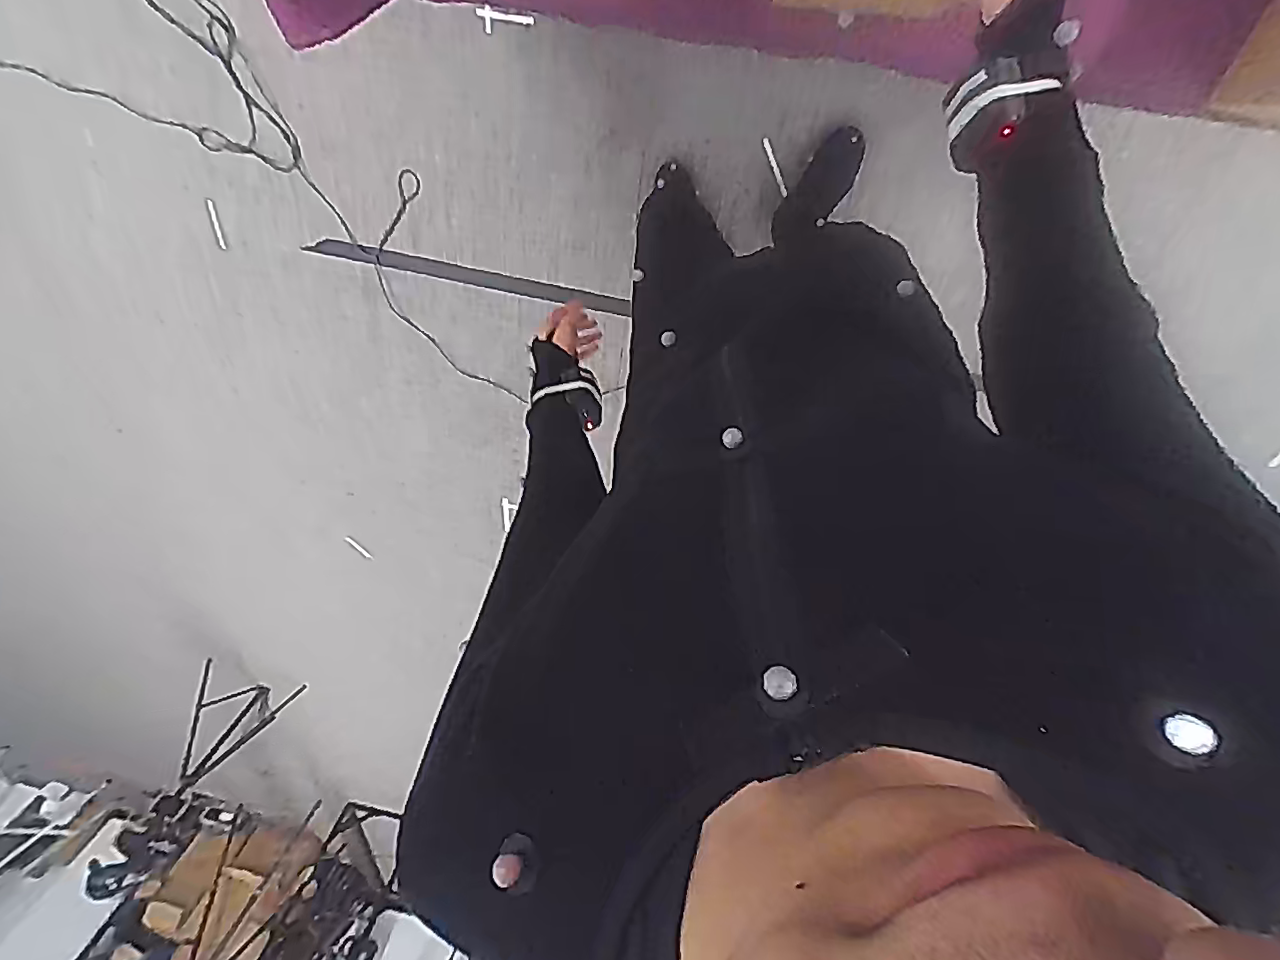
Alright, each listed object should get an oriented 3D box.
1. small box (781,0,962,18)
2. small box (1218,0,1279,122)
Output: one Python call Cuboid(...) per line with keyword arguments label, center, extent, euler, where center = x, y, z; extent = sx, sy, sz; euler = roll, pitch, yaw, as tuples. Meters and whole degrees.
Cuboid(label="small box", center=(0.214, -0.526, 0.464), extent=(0.168, 0.176, 0.179), euler=(9, 127, 6))
Cuboid(label="small box", center=(0.673, -0.401, 0.452), extent=(0.168, 0.176, 0.179), euler=(15, 126, 2))
